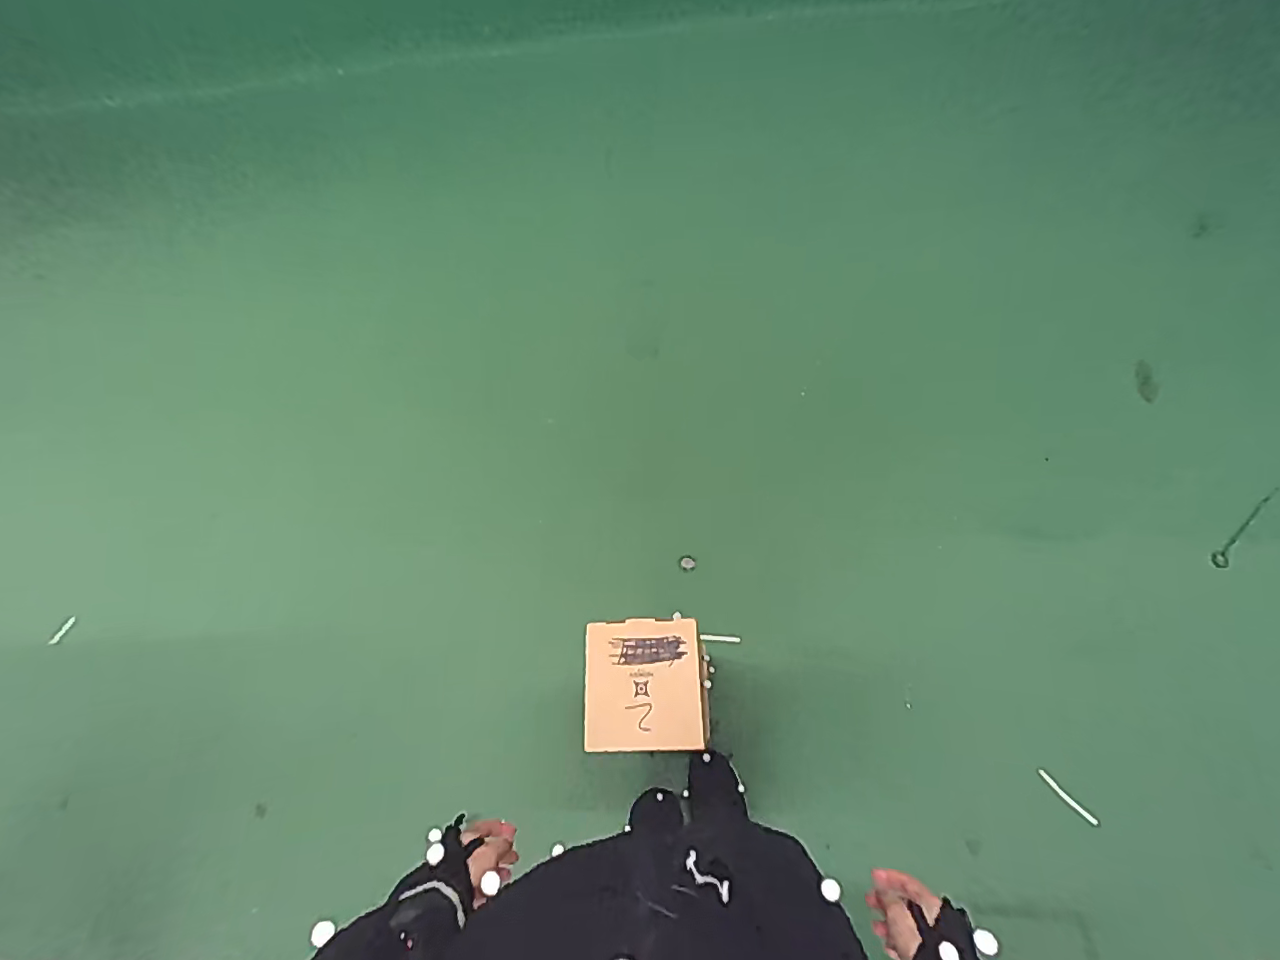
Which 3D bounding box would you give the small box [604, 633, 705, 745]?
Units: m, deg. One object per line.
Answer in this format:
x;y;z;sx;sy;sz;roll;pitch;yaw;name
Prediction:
0.030;0.382;0.987;0.168;0.176;0.179;-4;65;6;small box
